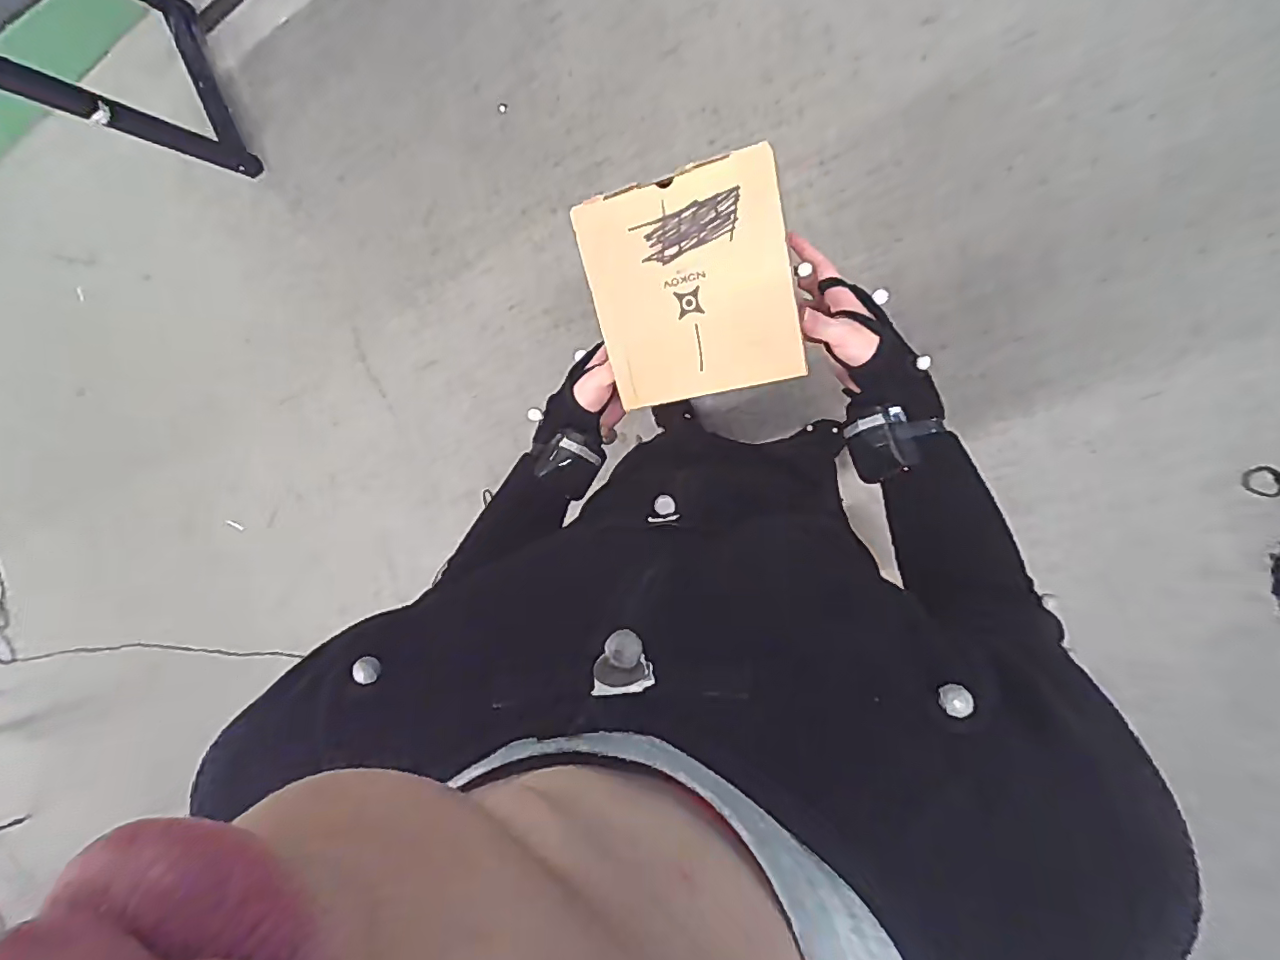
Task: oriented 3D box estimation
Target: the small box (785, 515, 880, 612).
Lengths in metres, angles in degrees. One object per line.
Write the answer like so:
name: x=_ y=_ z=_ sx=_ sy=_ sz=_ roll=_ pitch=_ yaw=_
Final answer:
small box: x=0.497 y=0.208 z=1.409 sx=0.168 sy=0.176 sz=0.179 roll=-34 pitch=90 yaw=22
